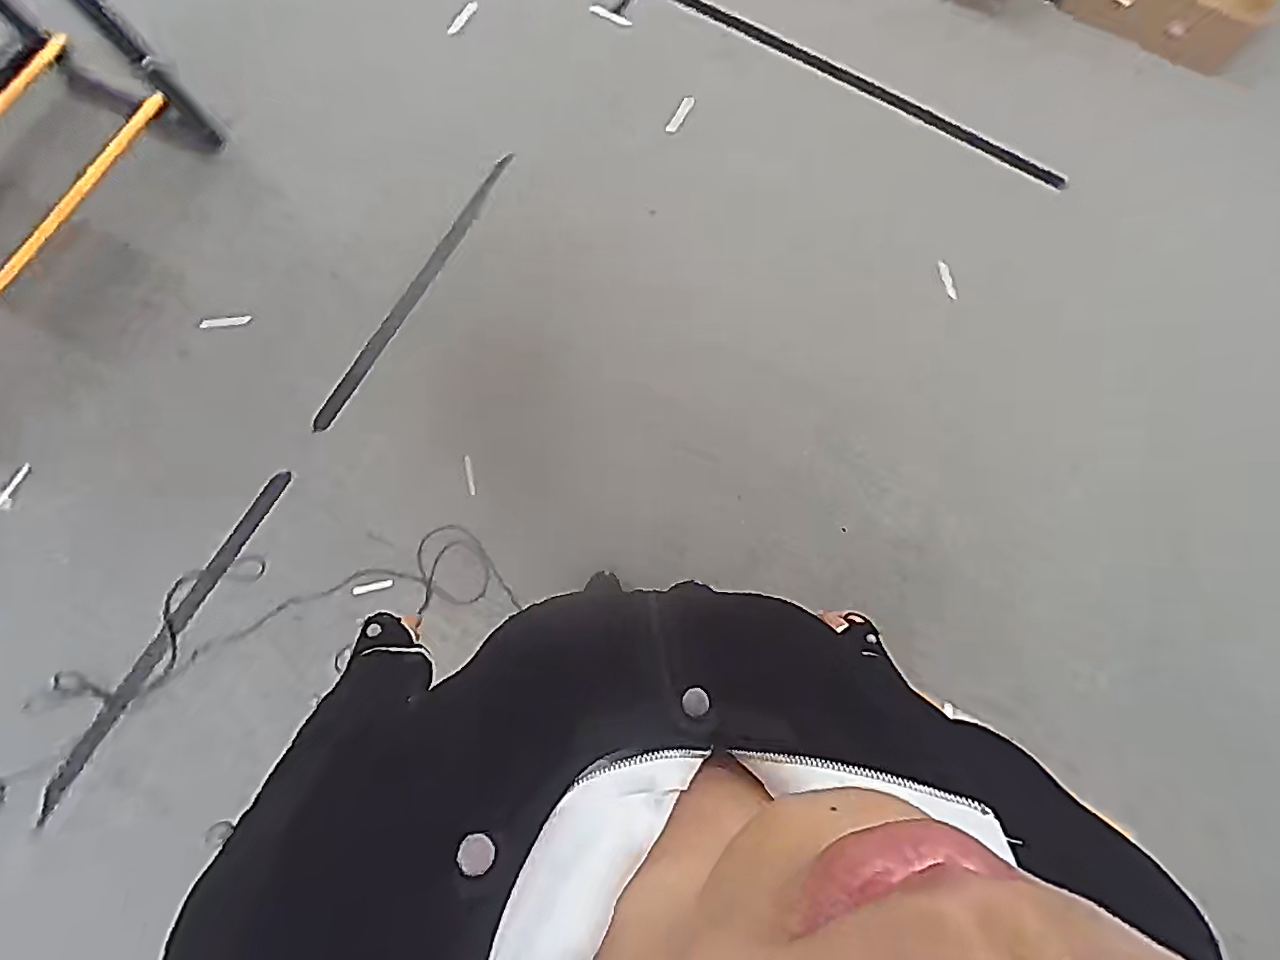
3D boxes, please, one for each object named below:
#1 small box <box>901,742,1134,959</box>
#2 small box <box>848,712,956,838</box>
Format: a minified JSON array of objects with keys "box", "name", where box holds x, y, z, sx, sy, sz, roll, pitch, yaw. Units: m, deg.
[{"box":[0.493,0.484,0.735,0.179,0.176,0.168,29,79,6],"name":"small box"},{"box":[0.481,0.509,0.897,0.179,0.176,0.168,27,78,6],"name":"small box"}]
